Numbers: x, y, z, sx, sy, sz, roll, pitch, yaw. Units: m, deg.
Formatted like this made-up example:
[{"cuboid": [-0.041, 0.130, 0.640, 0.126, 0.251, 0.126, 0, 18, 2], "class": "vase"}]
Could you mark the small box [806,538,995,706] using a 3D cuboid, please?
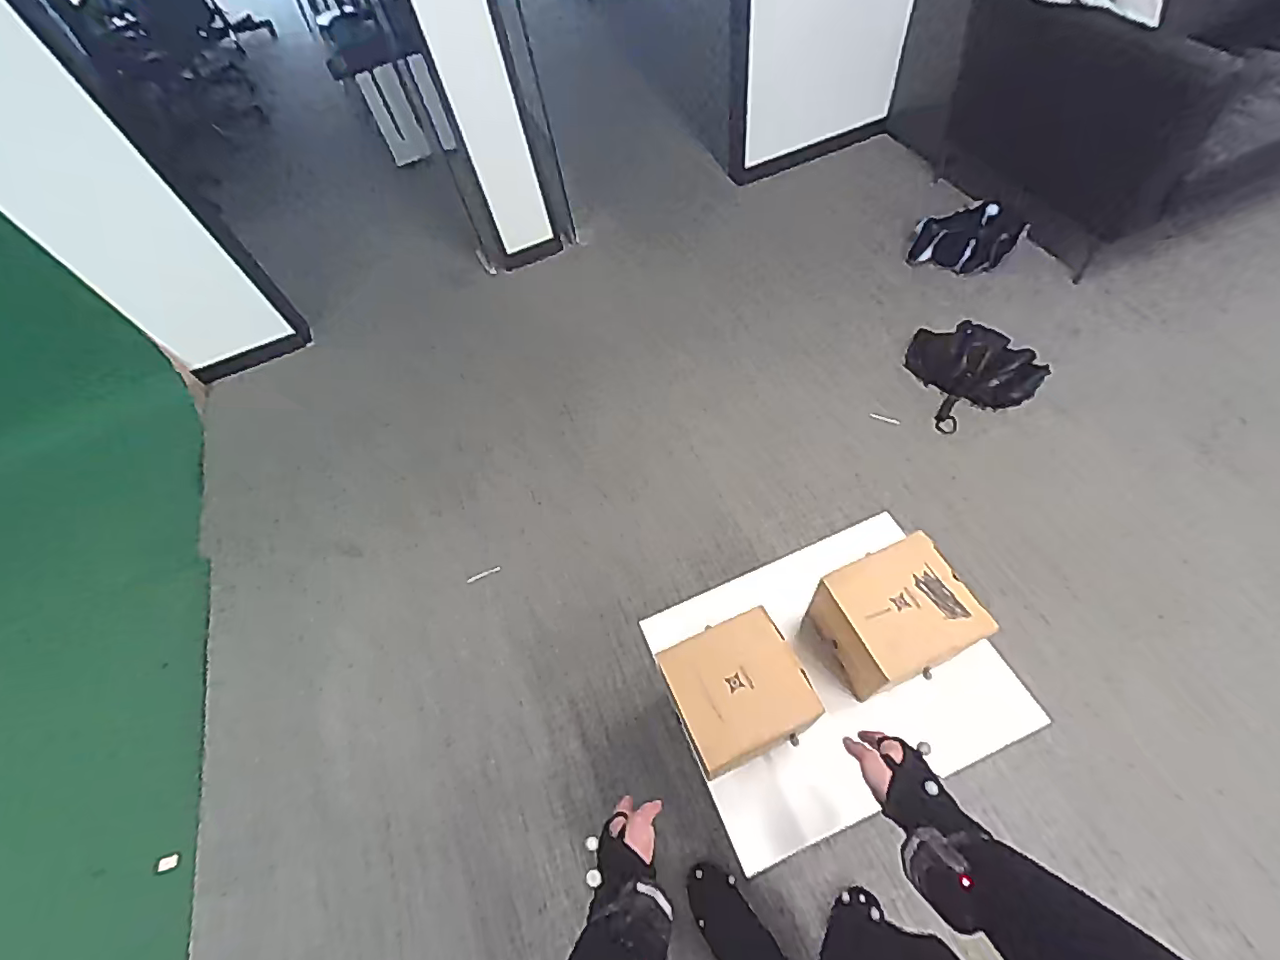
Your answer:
[{"cuboid": [0.377, 0.219, 0.821, 0.179, 0.176, 0.168, -21, 57, -7], "class": "small box"}]

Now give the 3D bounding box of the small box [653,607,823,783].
[{"cuboid": [0.132, 0.315, 0.786, 0.179, 0.176, 0.168, -23, 57, -9], "class": "small box"}]
